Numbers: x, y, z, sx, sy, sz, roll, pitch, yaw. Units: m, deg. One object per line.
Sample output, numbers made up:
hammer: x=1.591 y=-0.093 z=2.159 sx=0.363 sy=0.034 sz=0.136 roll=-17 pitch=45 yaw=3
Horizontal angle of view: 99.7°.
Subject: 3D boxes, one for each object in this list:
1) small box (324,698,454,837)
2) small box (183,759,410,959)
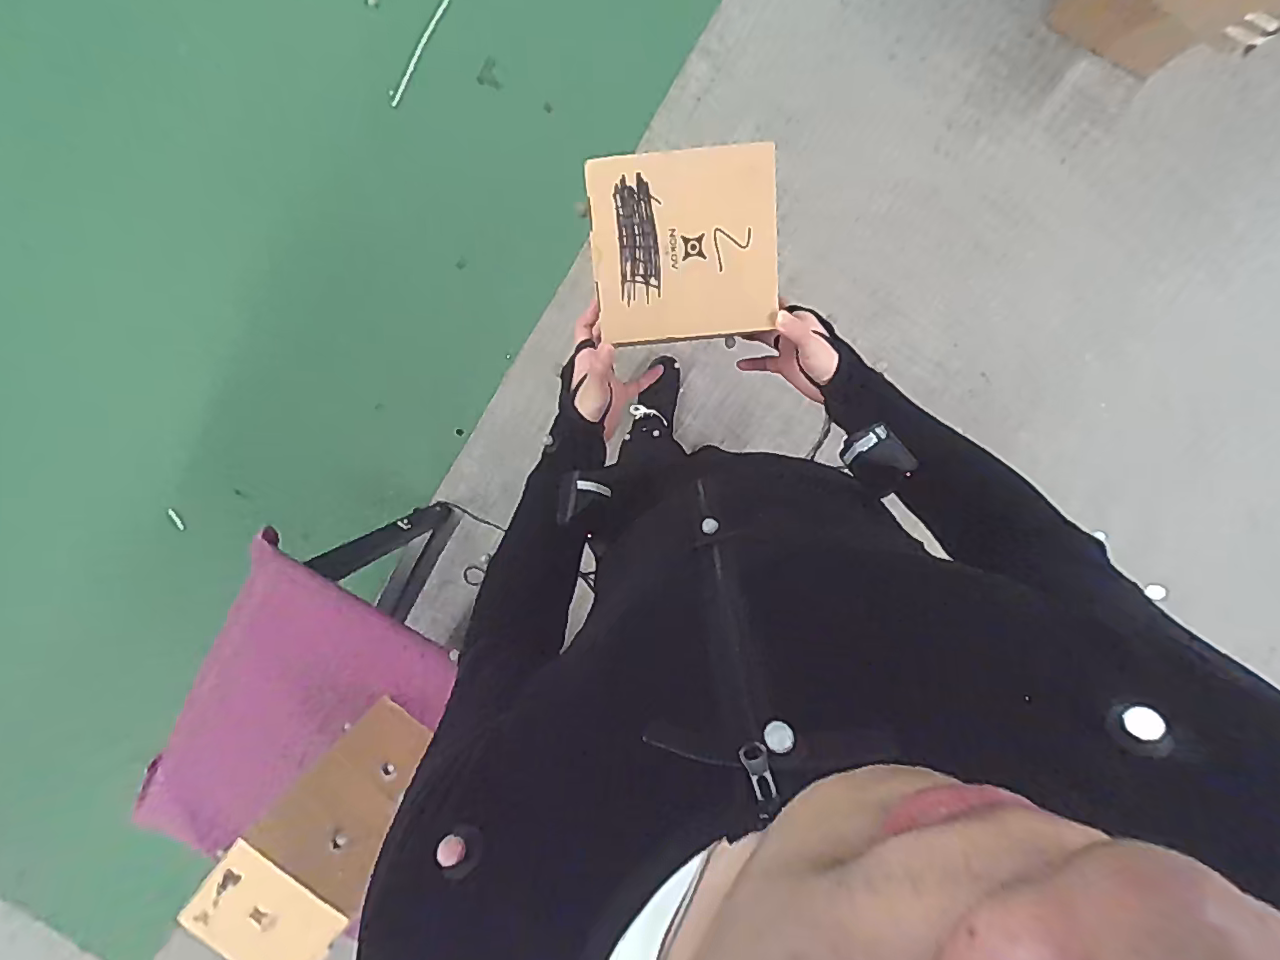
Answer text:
small box: x=-0.454 y=0.515 z=0.923 sx=0.179 sy=0.176 sz=0.168 roll=42 pitch=99 yaw=-3
small box: x=-0.464 y=0.541 z=0.762 sx=0.179 sy=0.176 sz=0.168 roll=39 pitch=99 yaw=-4
